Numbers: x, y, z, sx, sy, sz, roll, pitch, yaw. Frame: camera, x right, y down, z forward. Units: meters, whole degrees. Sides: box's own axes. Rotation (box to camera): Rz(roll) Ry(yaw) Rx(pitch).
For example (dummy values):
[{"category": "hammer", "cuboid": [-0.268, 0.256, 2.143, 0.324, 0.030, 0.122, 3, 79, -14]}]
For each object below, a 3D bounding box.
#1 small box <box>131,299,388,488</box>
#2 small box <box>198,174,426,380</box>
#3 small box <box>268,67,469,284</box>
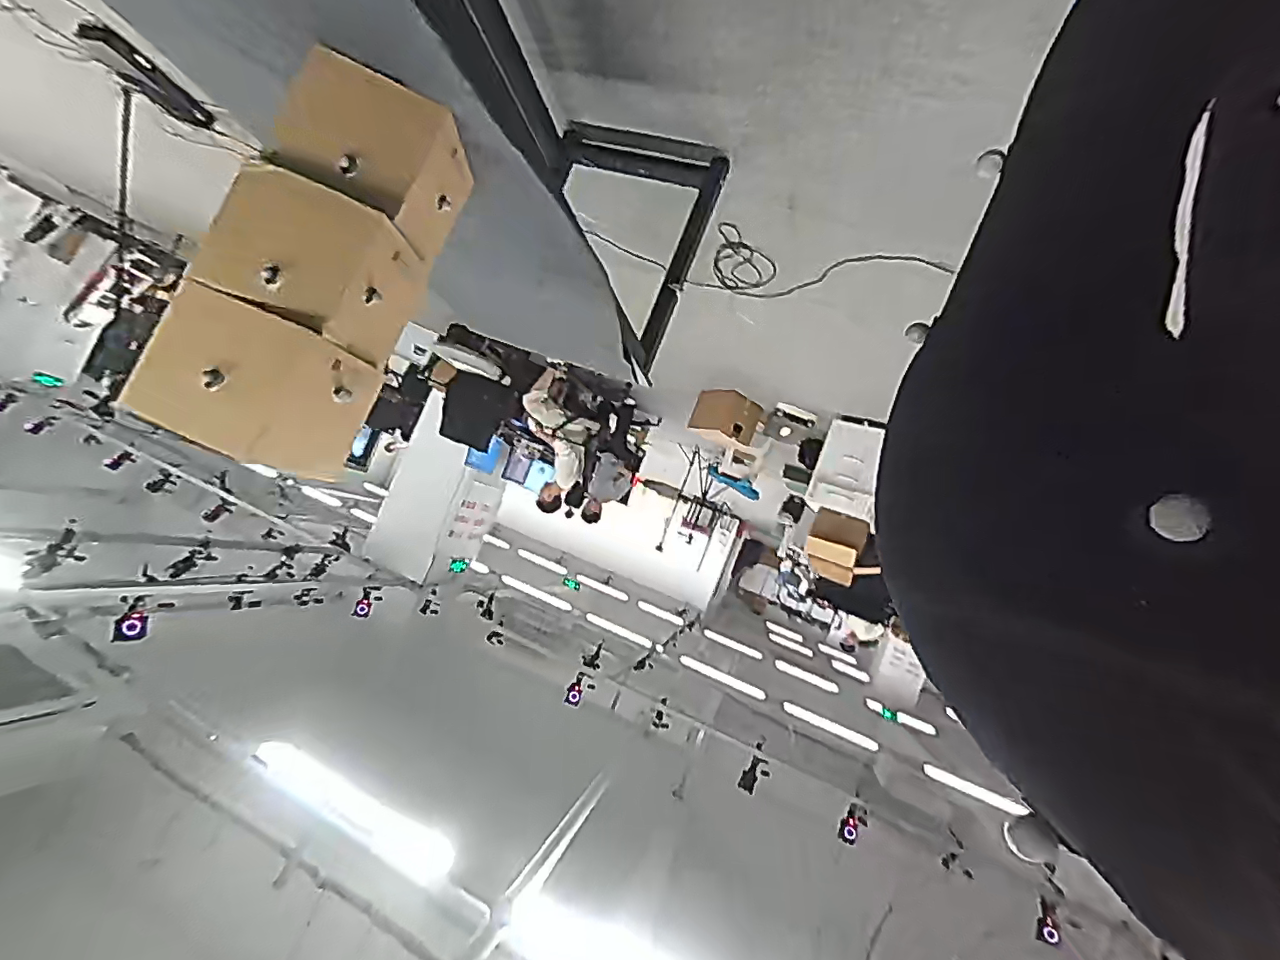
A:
[{"category": "small box", "cuboid": [-0.465, -0.106, 0.690, 0.179, 0.176, 0.168, 22, 175, 5]}, {"category": "small box", "cuboid": [-0.407, -0.259, 0.711, 0.179, 0.176, 0.168, 24, 175, -1]}, {"category": "small box", "cuboid": [-0.352, -0.409, 0.743, 0.179, 0.176, 0.168, 24, 175, -6]}]
